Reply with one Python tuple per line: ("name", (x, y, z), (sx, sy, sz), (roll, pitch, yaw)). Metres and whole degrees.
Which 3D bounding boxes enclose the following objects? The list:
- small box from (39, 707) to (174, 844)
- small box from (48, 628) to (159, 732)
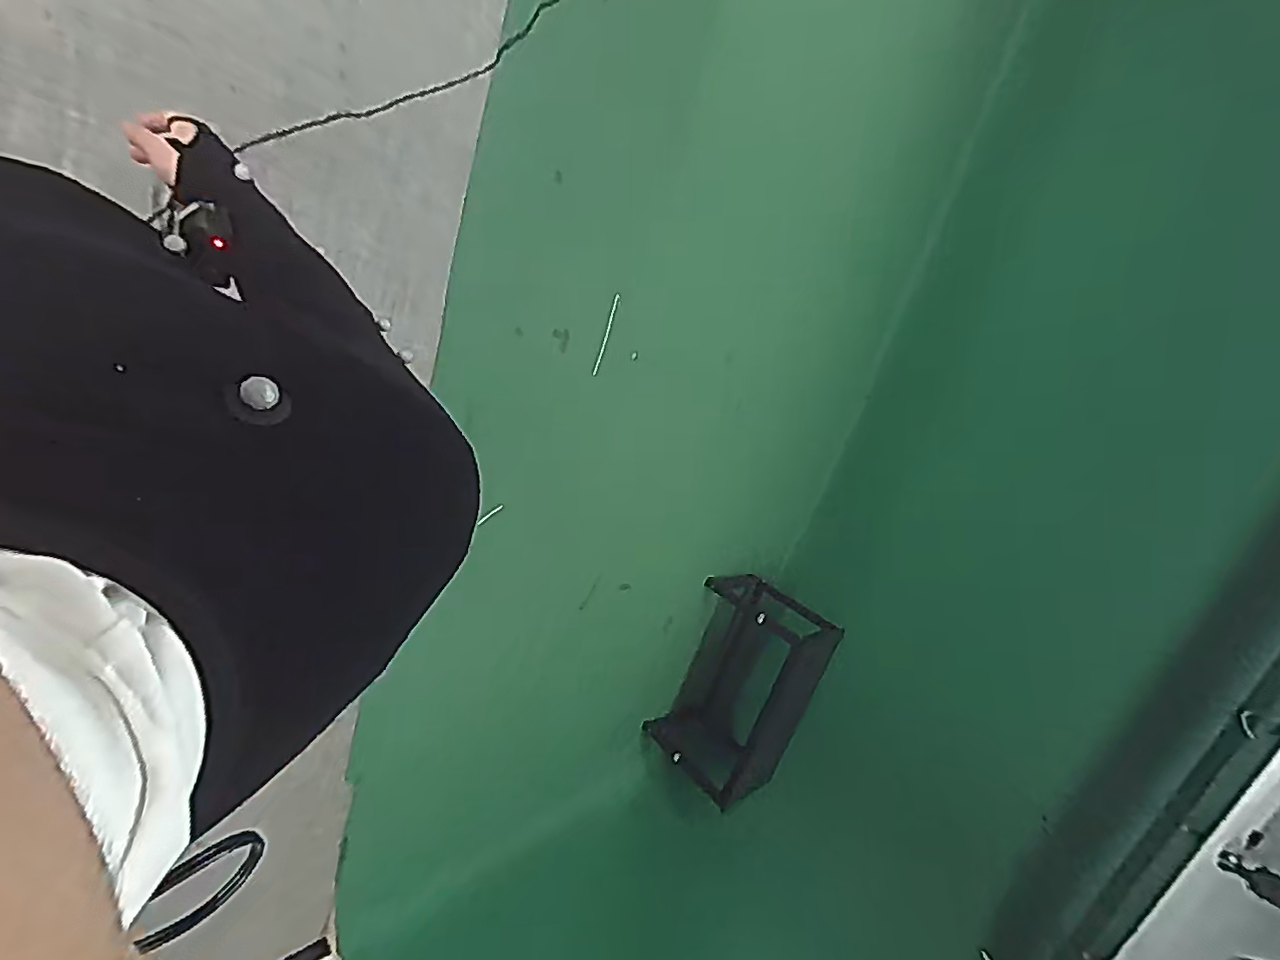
("small box", (-1.124, 0.608, 1.142), (0.179, 0.176, 0.168), (11, 105, -49))
("small box", (-1.343, 0.489, 1.355), (0.179, 0.176, 0.168), (8, 108, -48))
